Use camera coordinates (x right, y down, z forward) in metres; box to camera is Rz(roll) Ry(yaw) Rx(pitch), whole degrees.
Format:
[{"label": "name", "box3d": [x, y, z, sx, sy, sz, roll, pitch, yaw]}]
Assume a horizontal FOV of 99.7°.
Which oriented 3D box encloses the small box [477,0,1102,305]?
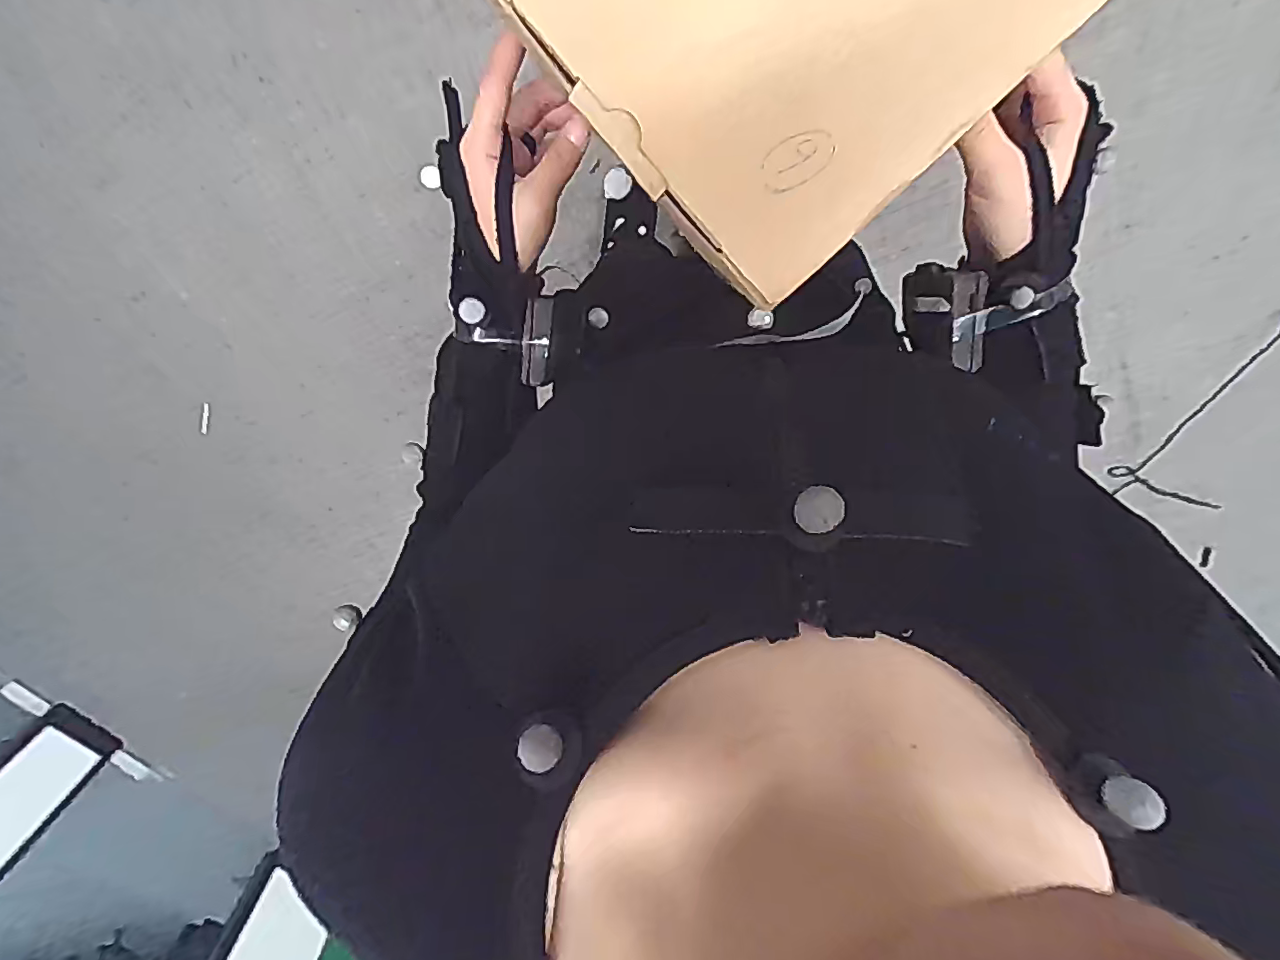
[{"label": "small box", "box3d": [0.056, -0.206, 0.236, 0.179, 0.176, 0.168, -40, 106, 20]}]
